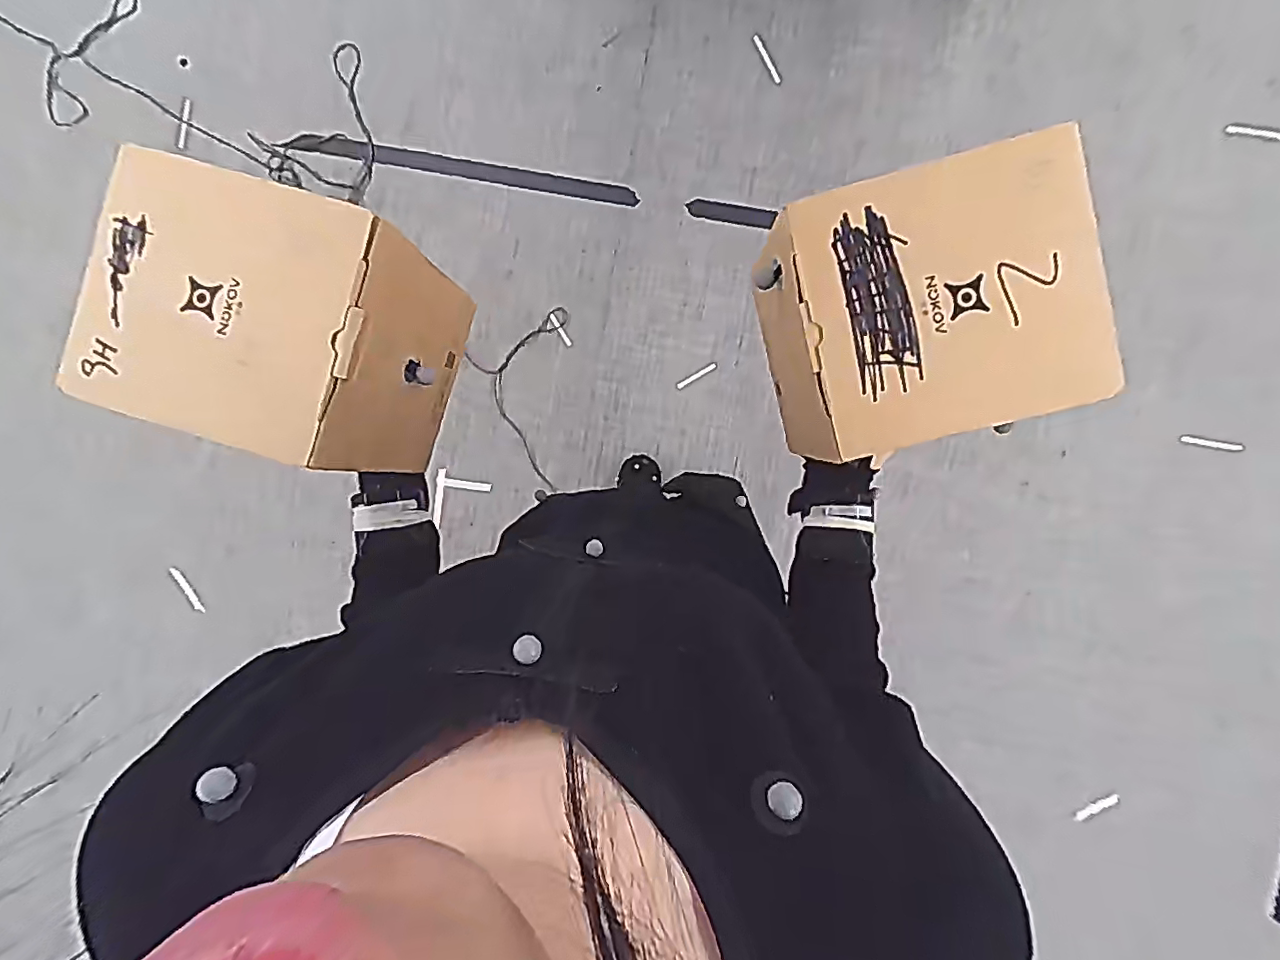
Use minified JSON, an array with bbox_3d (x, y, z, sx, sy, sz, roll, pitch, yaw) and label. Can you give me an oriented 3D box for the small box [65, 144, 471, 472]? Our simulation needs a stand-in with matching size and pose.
[{"bbox_3d":[-0.254,-0.110,0.417,0.179,0.176,0.168,17,91,2],"label":"small box"}]
